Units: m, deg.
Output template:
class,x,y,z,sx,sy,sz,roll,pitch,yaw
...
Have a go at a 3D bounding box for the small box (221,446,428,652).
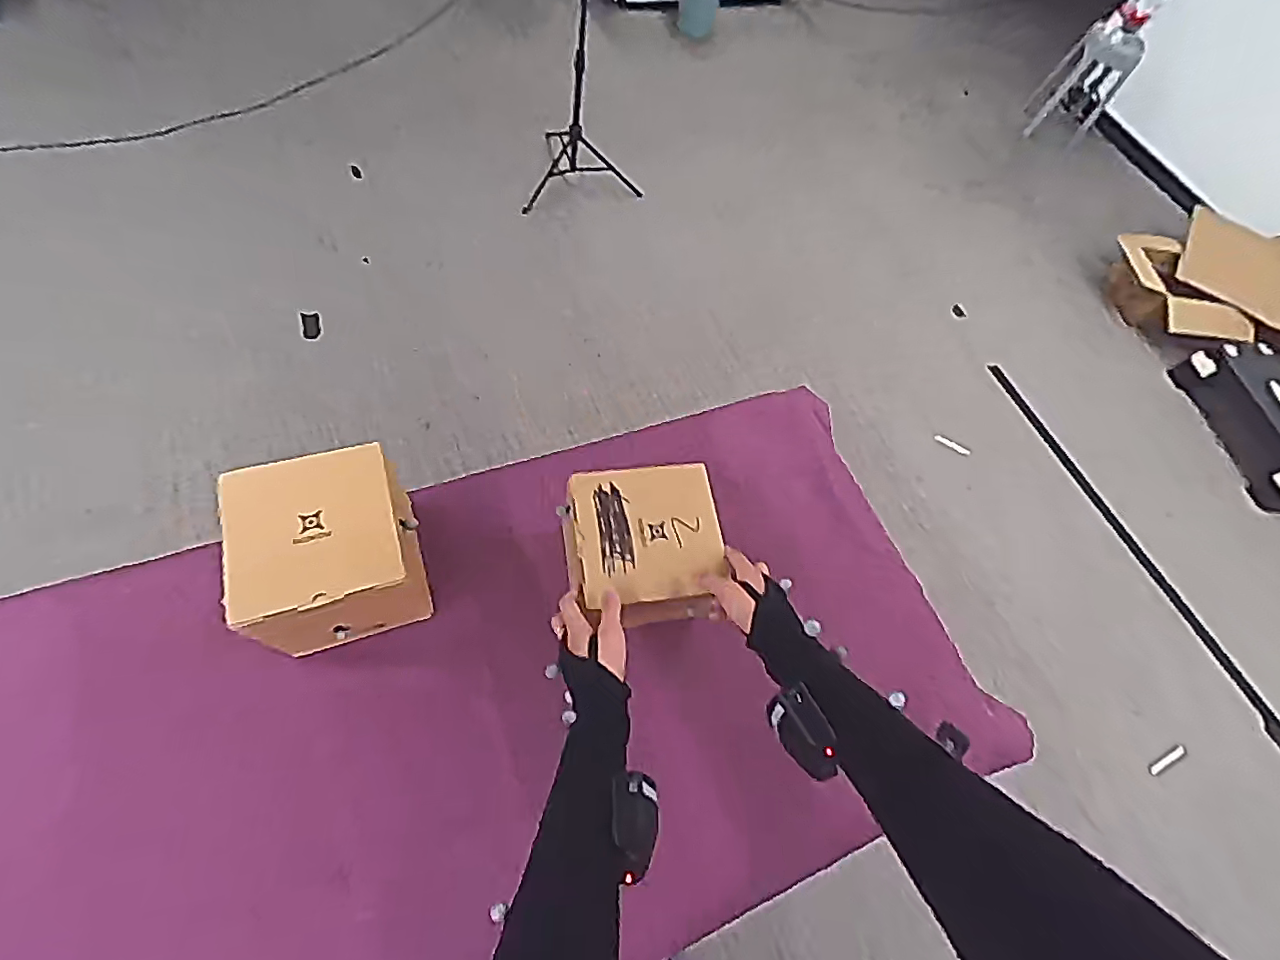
class,x,y,z,sx,sy,sz,roll,pitch,yaw
small box,-0.366,0.087,0.648,0.168,0.176,0.179,-14,68,-18
